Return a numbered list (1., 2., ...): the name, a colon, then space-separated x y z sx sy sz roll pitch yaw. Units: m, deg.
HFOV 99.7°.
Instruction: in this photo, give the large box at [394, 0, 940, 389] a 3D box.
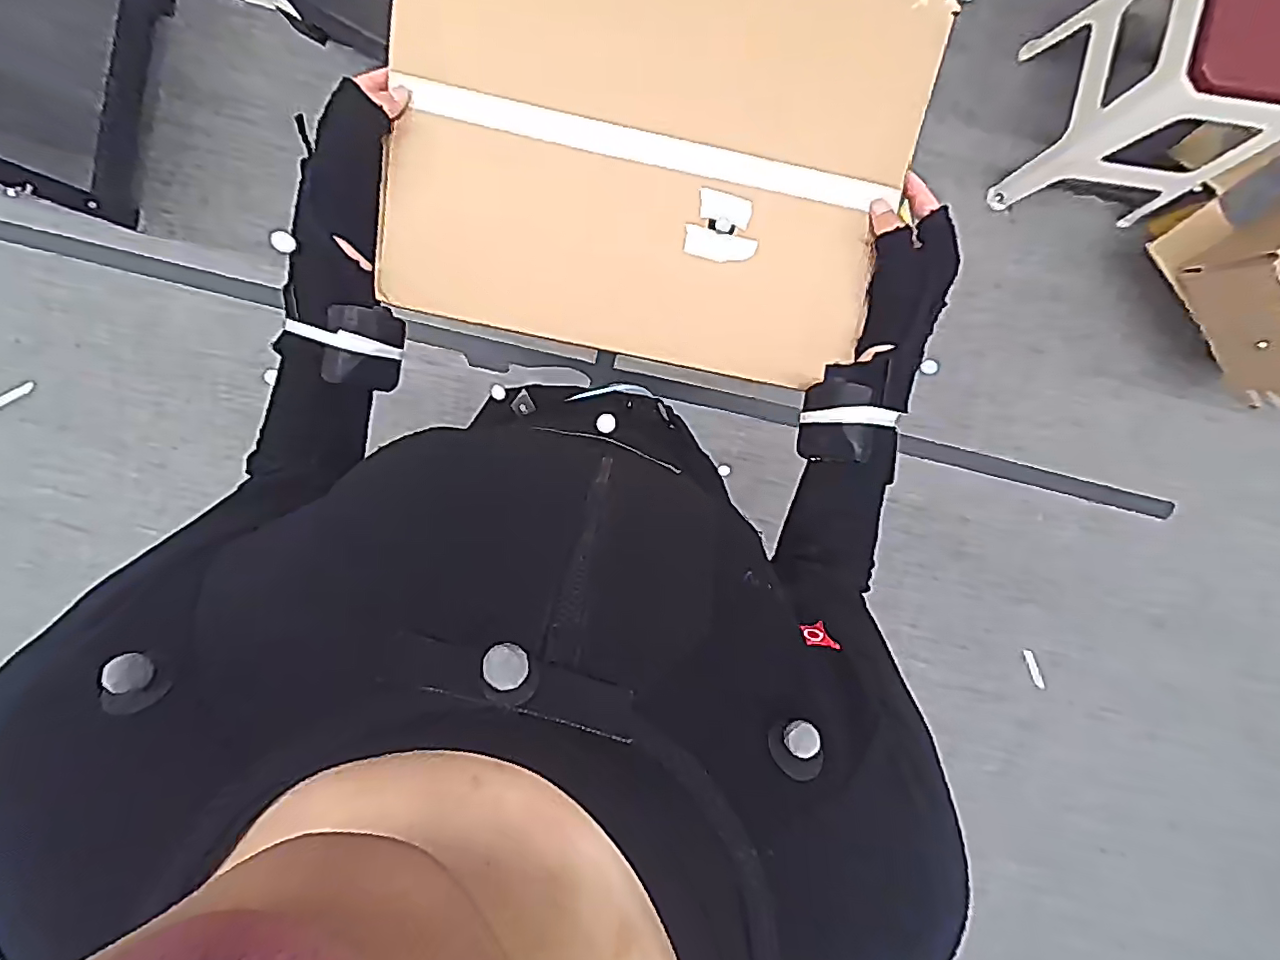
1. large box: 0.005 -0.296 0.581 0.408 0.320 0.320 11 104 -6
